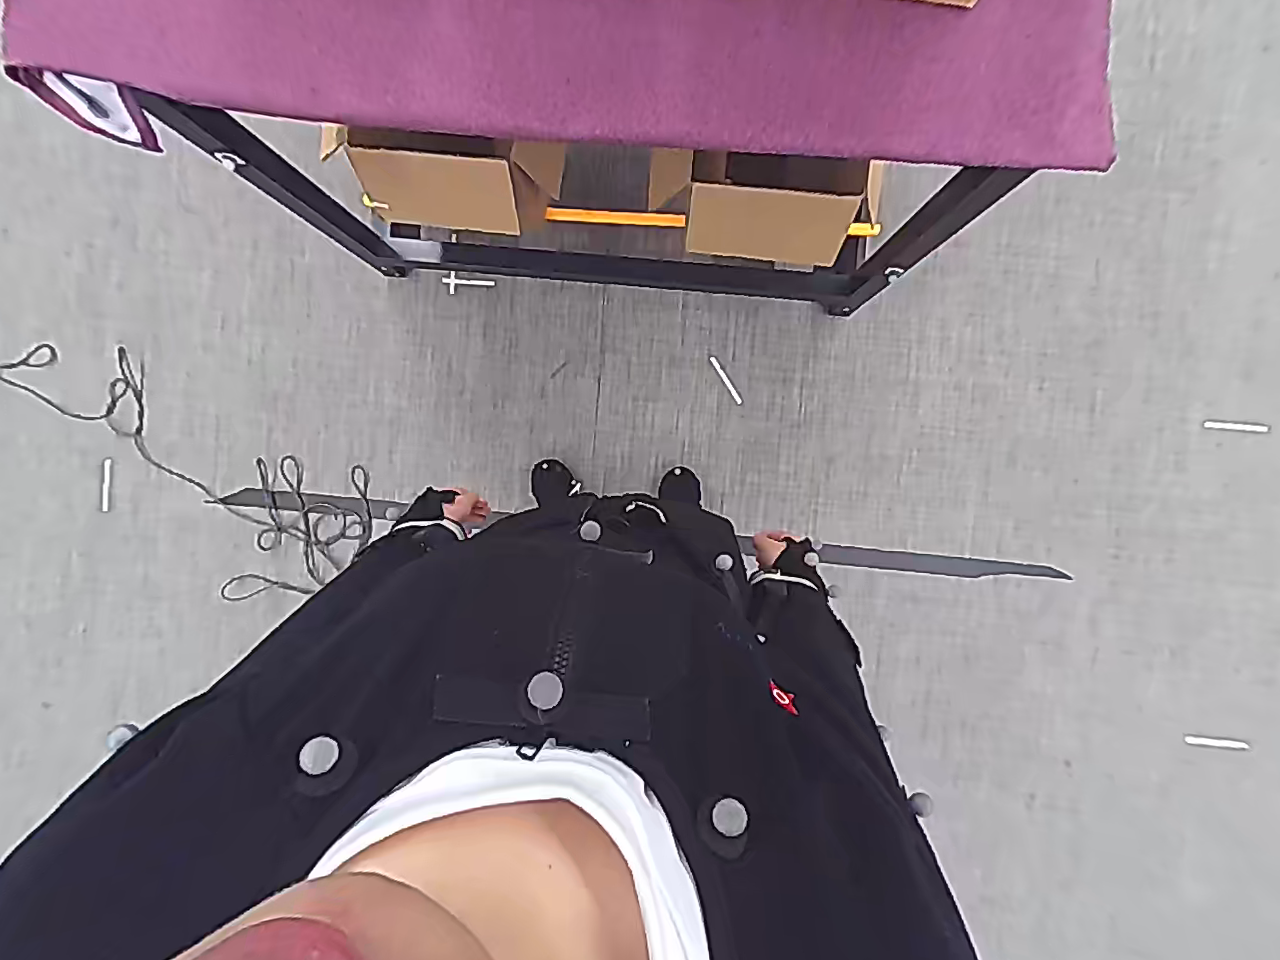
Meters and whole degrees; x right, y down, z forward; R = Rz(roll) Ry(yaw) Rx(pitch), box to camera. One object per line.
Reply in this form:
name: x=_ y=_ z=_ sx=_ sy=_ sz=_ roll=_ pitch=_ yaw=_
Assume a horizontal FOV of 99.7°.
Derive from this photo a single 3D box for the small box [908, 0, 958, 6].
small box: x=0.312 y=-0.636 z=0.546 sx=0.179 sy=0.176 sz=0.168 roll=10 pitch=91 yaw=1
